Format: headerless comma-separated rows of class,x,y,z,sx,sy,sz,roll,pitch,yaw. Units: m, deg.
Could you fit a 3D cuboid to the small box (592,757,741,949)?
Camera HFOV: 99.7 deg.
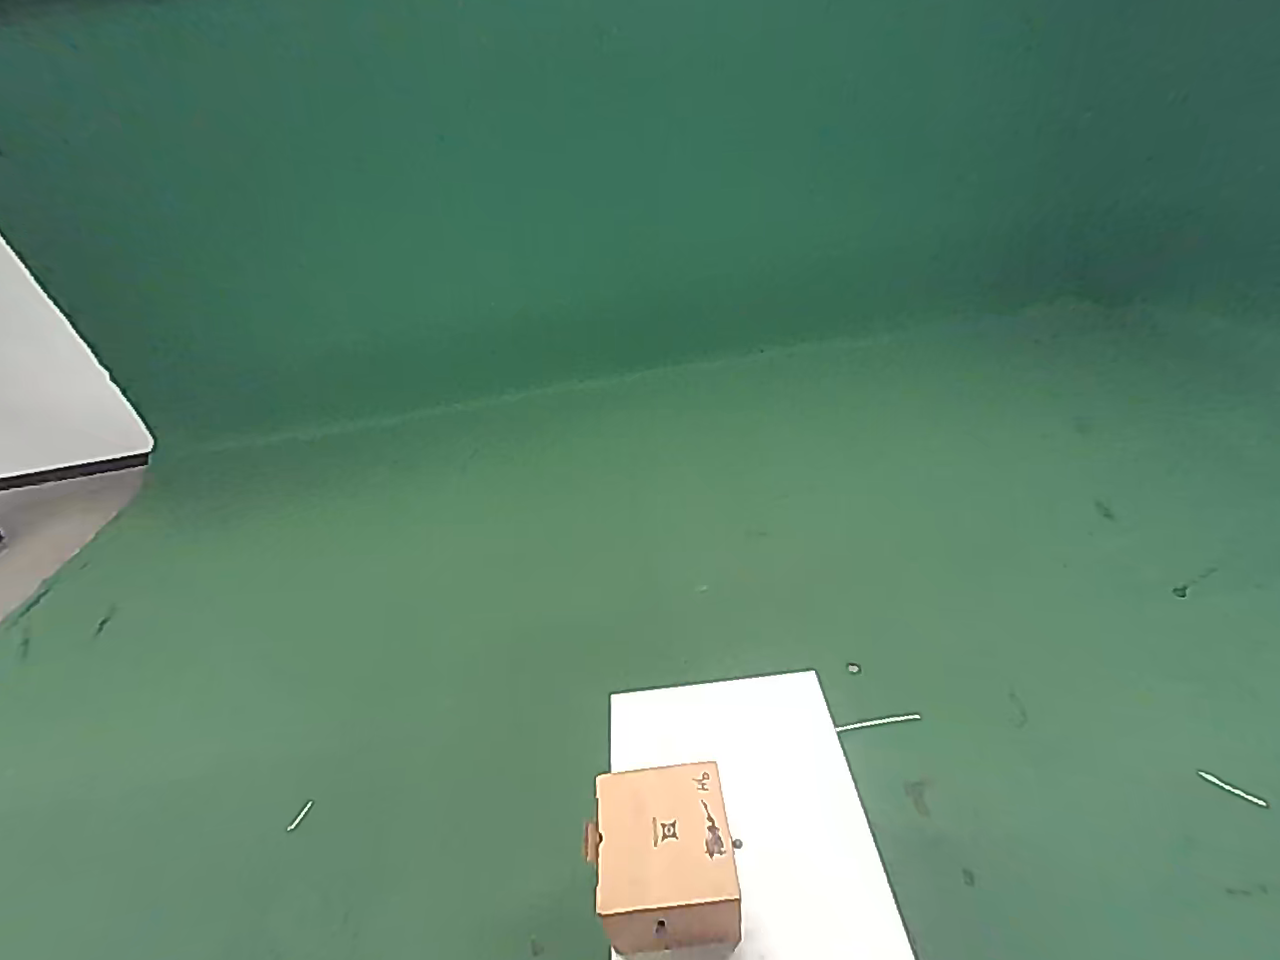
small box,0.036,0.511,0.741,0.179,0.176,0.168,-8,36,1
